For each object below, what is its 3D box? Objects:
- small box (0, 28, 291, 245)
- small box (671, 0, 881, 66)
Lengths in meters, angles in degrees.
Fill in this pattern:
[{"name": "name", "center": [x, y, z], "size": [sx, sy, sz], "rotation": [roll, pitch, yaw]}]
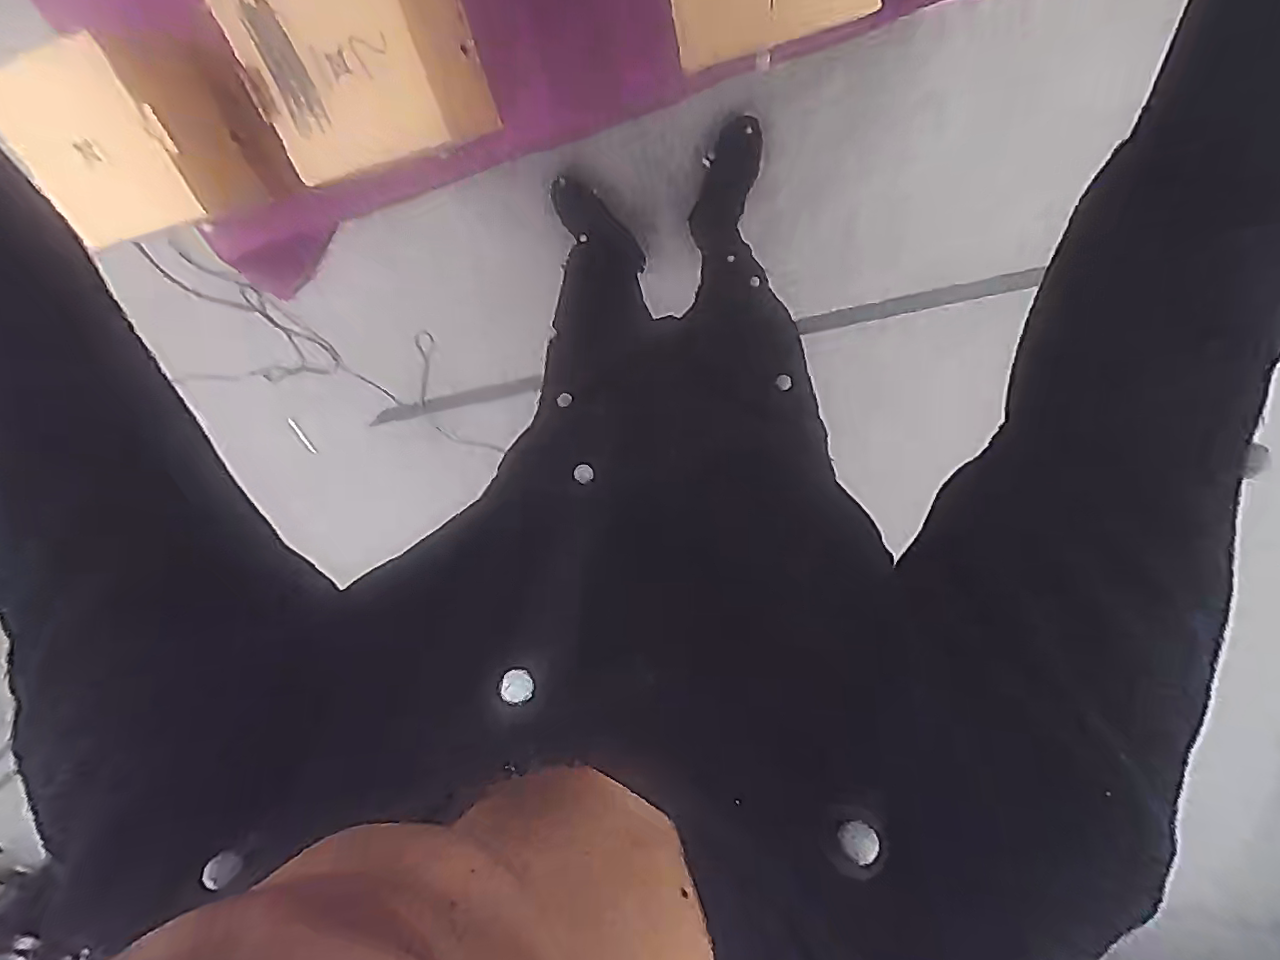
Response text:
[{"name": "small box", "center": [-0.566, -0.394, 0.631], "size": [0.179, 0.176, 0.168], "rotation": [-8, 125, 12]}, {"name": "small box", "center": [0.103, -0.485, 0.467], "size": [0.168, 0.176, 0.179], "rotation": [-8, 126, 15]}]
